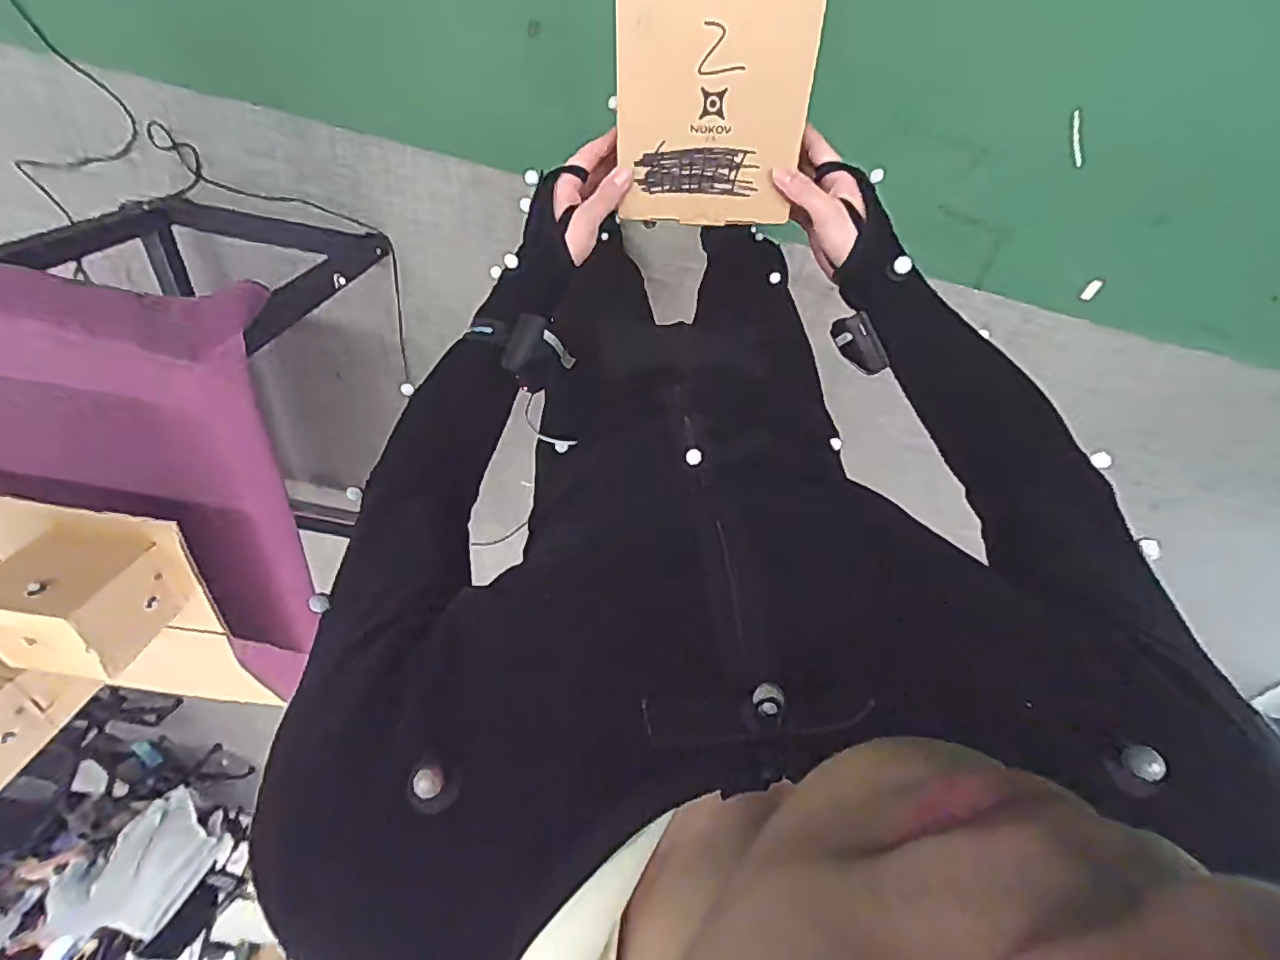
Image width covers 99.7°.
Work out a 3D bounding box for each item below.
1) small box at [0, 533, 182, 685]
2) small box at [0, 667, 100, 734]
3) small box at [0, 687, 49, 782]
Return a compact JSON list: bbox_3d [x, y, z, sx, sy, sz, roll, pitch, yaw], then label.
[{"bbox_3d":[-0.926,0.207,0.893,0.179,0.176,0.168,9,127,-3],"label":"small box"},{"bbox_3d":[-1.141,0.343,1.010,0.179,0.176,0.168,10,126,-1],"label":"small box"},{"bbox_3d":[-1.156,0.440,0.878,0.179,0.176,0.168,9,126,-2],"label":"small box"}]
